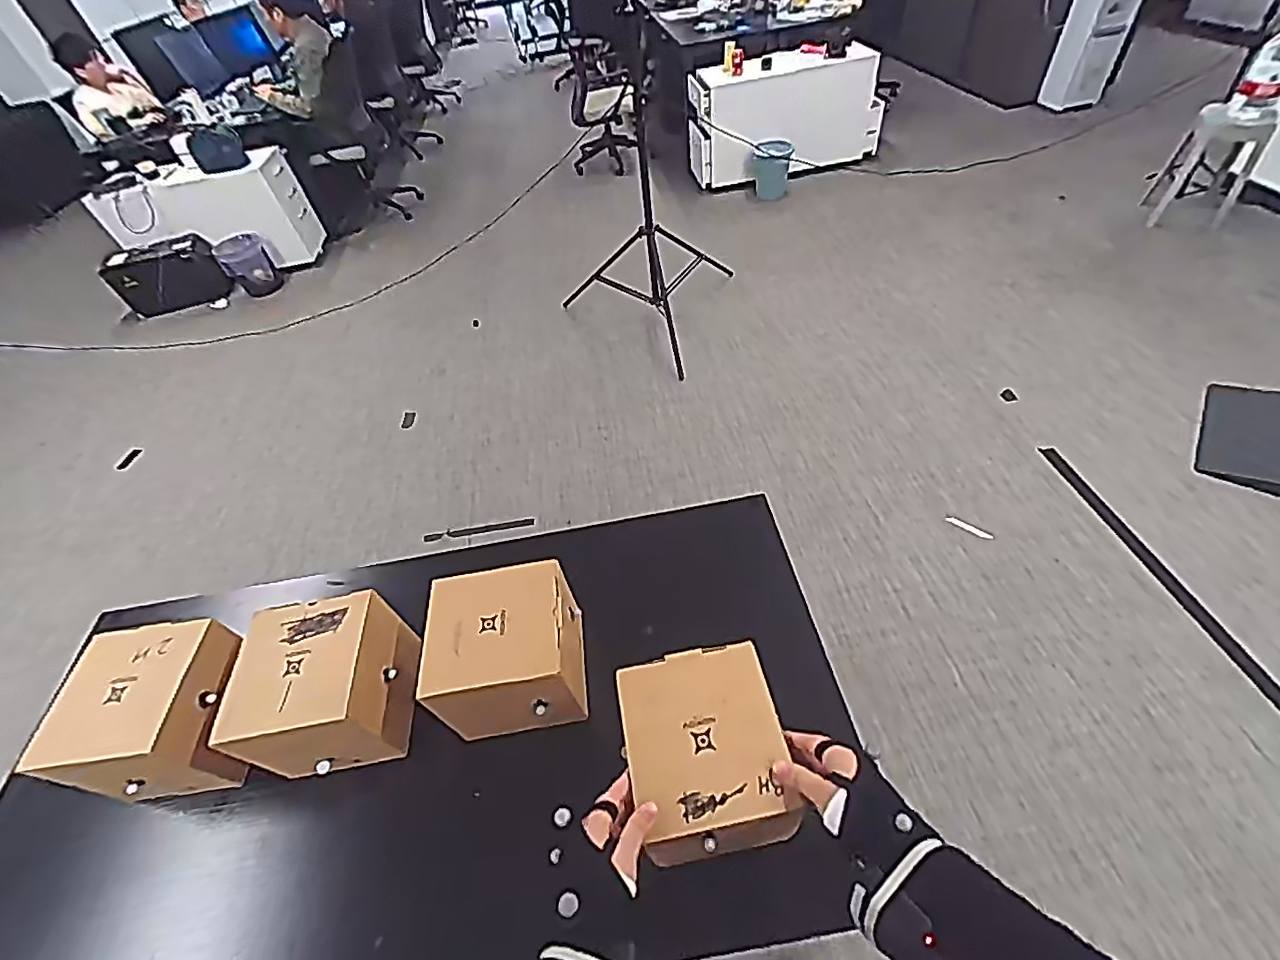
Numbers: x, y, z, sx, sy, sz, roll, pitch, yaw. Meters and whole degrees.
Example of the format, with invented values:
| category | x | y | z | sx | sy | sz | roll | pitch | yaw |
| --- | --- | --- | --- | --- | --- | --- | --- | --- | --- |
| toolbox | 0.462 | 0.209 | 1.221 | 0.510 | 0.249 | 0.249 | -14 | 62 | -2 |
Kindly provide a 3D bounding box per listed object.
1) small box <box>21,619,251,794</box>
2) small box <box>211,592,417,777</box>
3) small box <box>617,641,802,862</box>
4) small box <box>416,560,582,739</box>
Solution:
| category | x | y | z | sx | sy | sz | roll | pitch | yaw |
| --- | --- | --- | --- | --- | --- | --- | --- | --- | --- |
| small box | -0.646 | 0.318 | 0.747 | 0.168 | 0.176 | 0.179 | -8 | 48 | 1 |
| small box | -0.424 | 0.282 | 0.744 | 0.168 | 0.176 | 0.179 | -11 | 50 | -2 |
| small box | 0.073 | 0.319 | 0.634 | 0.168 | 0.176 | 0.179 | -12 | 48 | -1 |
| small box | -0.180 | 0.237 | 0.748 | 0.179 | 0.176 | 0.168 | -11 | 47 | 1 |
